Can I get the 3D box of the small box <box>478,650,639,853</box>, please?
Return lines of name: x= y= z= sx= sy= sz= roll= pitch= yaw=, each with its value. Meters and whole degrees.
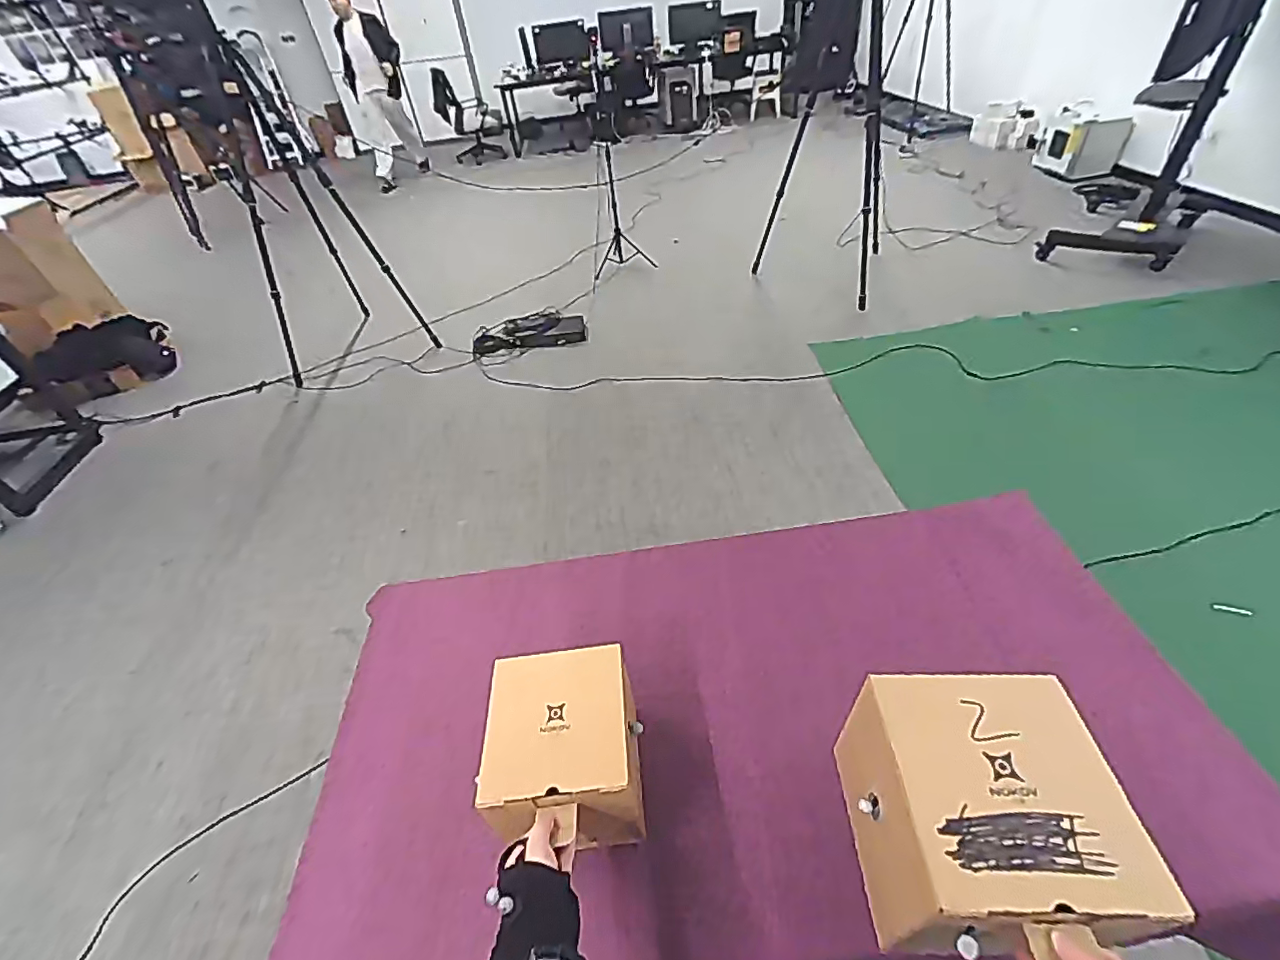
small box: x=-0.094 y=0.348 z=0.699 sx=0.168 sy=0.176 sz=0.179 roll=-7 pitch=41 yaw=0
